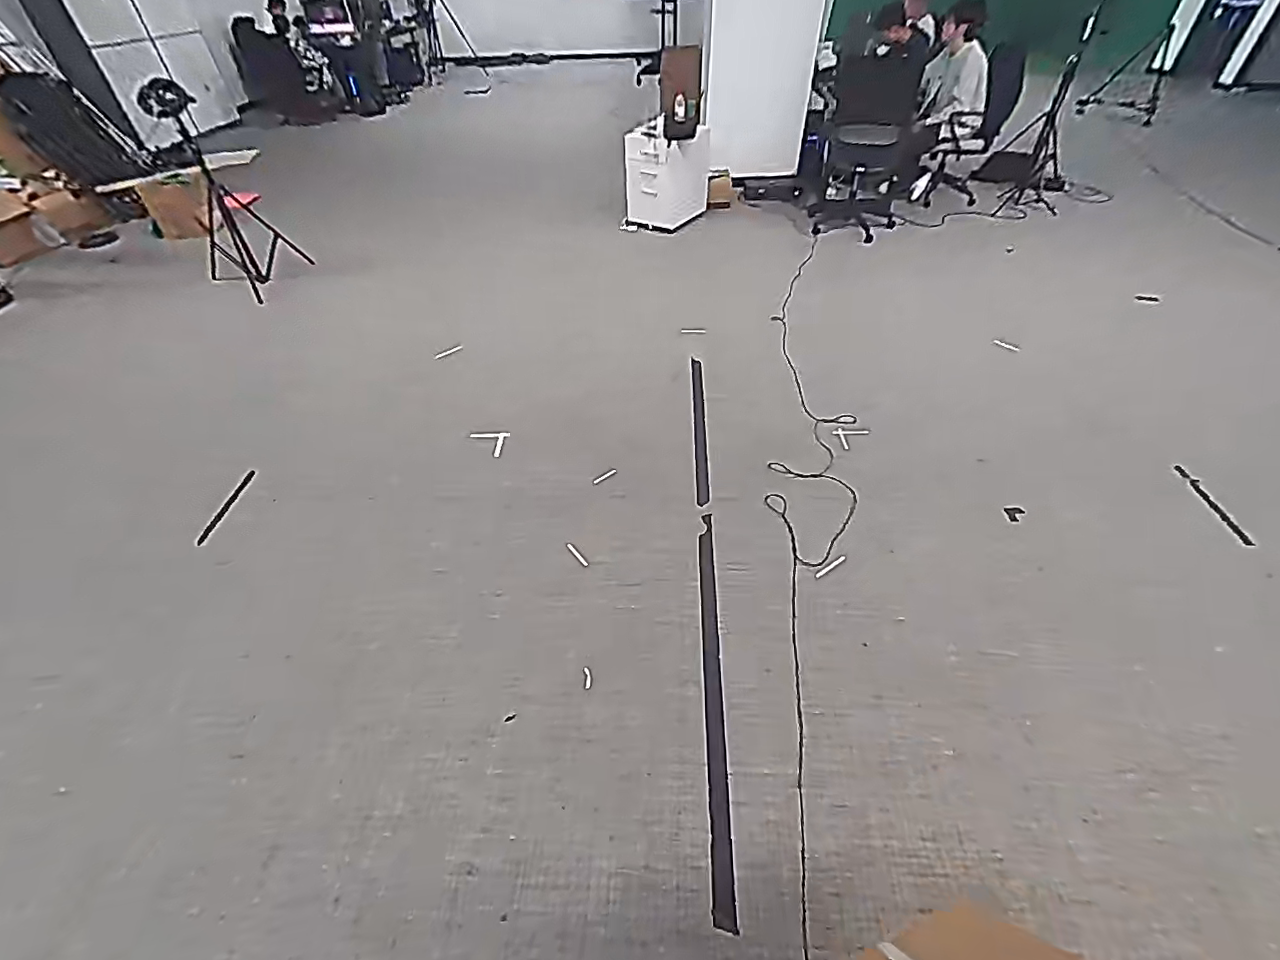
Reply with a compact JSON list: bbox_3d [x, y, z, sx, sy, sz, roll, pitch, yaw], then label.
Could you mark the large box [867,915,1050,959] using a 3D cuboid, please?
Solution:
[{"bbox_3d":[0.427,0.764,0.568,0.320,0.408,0.320,-16,71,-12],"label":"large box"}]
